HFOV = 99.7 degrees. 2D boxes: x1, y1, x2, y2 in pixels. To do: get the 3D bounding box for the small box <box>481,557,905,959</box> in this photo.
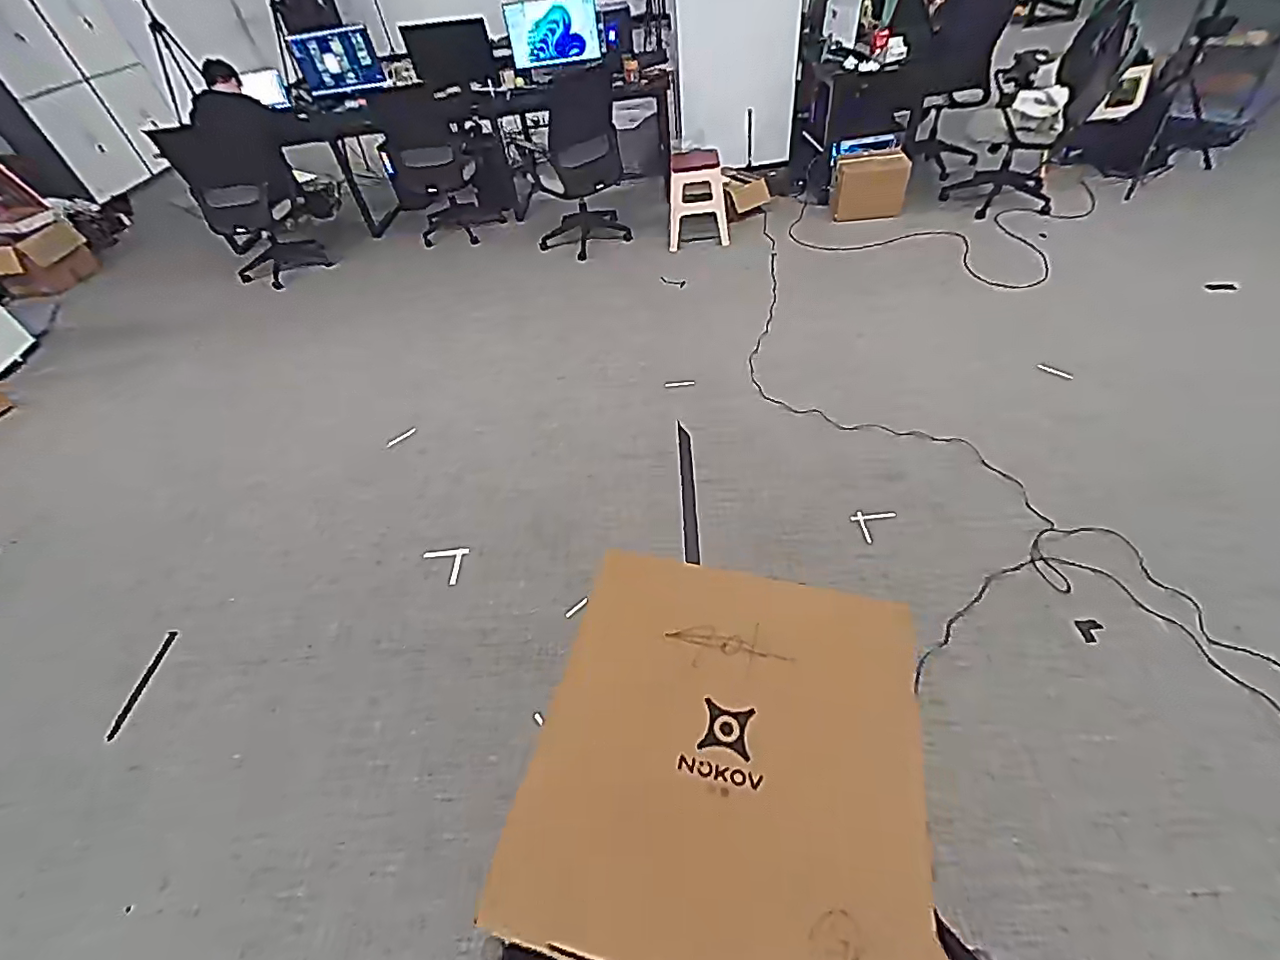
[{"bbox_3d":[0.037,0.175,0.312,0.168,0.176,0.179,10,48,10],"label":"small box"}]
